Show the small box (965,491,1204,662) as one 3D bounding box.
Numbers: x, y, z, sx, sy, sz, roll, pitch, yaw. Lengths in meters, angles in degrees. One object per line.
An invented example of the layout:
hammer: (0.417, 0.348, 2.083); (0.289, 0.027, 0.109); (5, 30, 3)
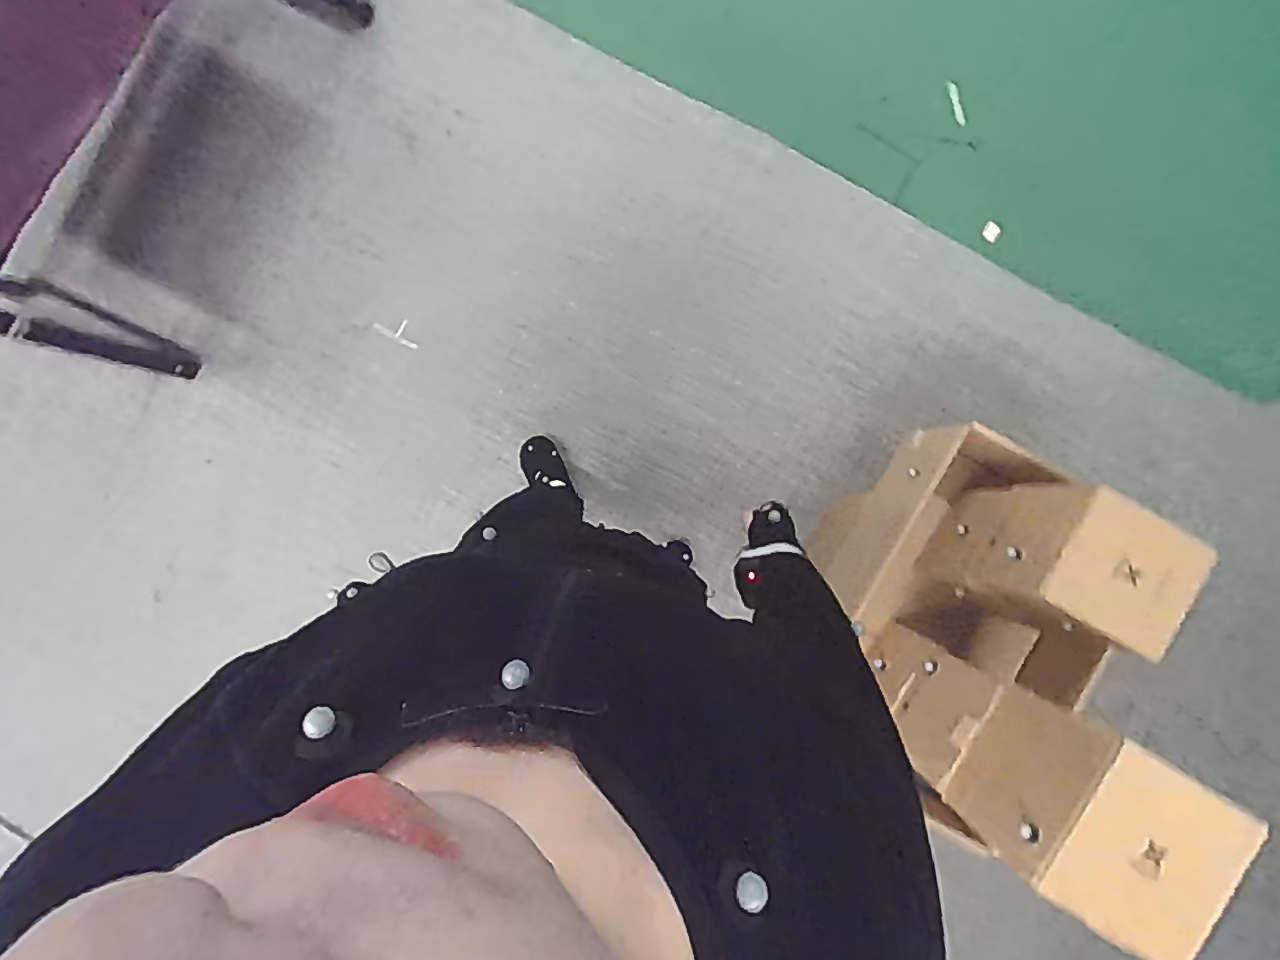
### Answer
small box: (0.627, 0.130, 0.789); (0.179, 0.176, 0.168); (31, 89, 0)

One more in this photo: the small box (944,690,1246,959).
small box: (0.496, 0.377, 0.621); (0.168, 0.176, 0.179); (33, 90, 0)

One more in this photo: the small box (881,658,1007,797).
small box: (0.491, 0.383, 0.783); (0.179, 0.176, 0.168); (34, 89, 0)
